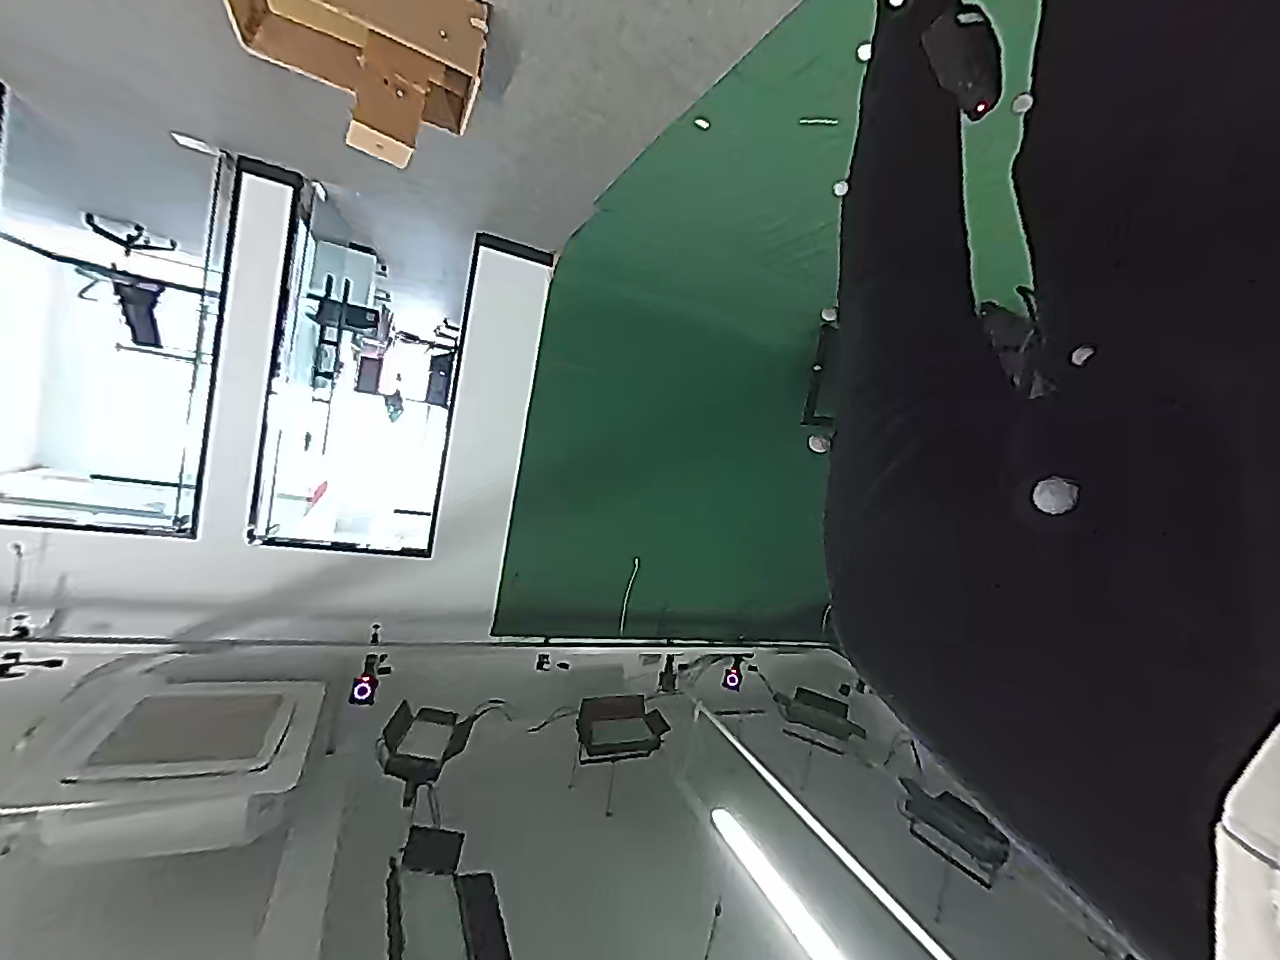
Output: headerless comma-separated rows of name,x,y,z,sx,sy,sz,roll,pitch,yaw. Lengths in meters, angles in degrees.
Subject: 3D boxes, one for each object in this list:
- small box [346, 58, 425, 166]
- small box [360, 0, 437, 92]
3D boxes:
small box,-0.739,-1.062,1.571,0.168,0.176,0.179,11,-178,-34
small box,-0.699,-1.220,1.561,0.168,0.176,0.179,13,-179,-31
